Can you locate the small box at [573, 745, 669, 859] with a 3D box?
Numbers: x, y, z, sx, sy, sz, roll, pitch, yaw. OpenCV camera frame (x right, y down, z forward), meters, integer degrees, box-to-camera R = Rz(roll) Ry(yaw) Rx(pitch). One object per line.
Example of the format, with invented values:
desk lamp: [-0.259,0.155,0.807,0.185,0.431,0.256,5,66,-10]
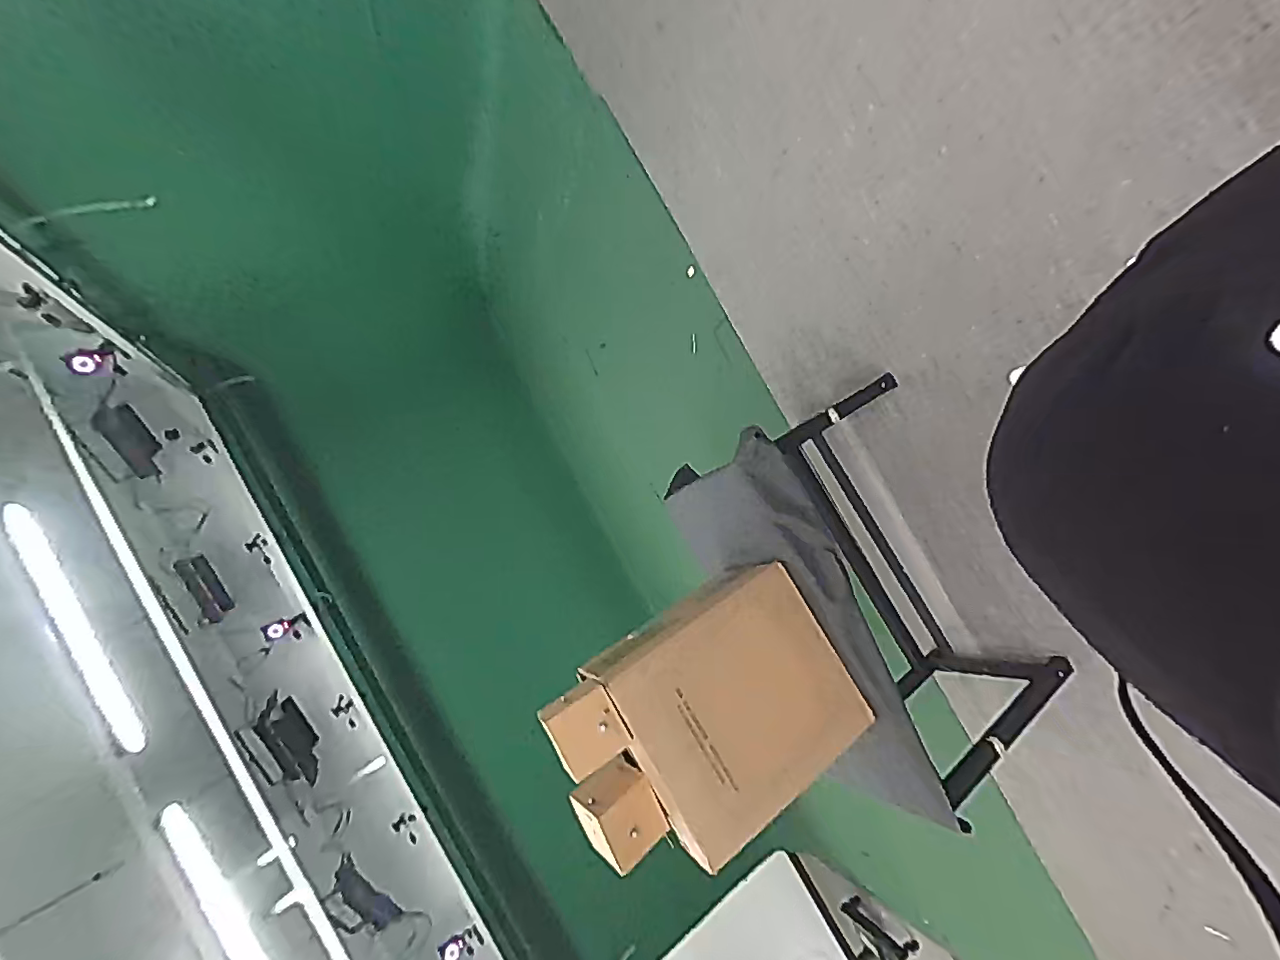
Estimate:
small box: [-0.049,0.876,1.489,0.168,0.176,0.179,-12,105,56]

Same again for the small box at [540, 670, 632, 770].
small box: [-0.143,0.622,1.427,0.168,0.176,0.179,60,158,4]
